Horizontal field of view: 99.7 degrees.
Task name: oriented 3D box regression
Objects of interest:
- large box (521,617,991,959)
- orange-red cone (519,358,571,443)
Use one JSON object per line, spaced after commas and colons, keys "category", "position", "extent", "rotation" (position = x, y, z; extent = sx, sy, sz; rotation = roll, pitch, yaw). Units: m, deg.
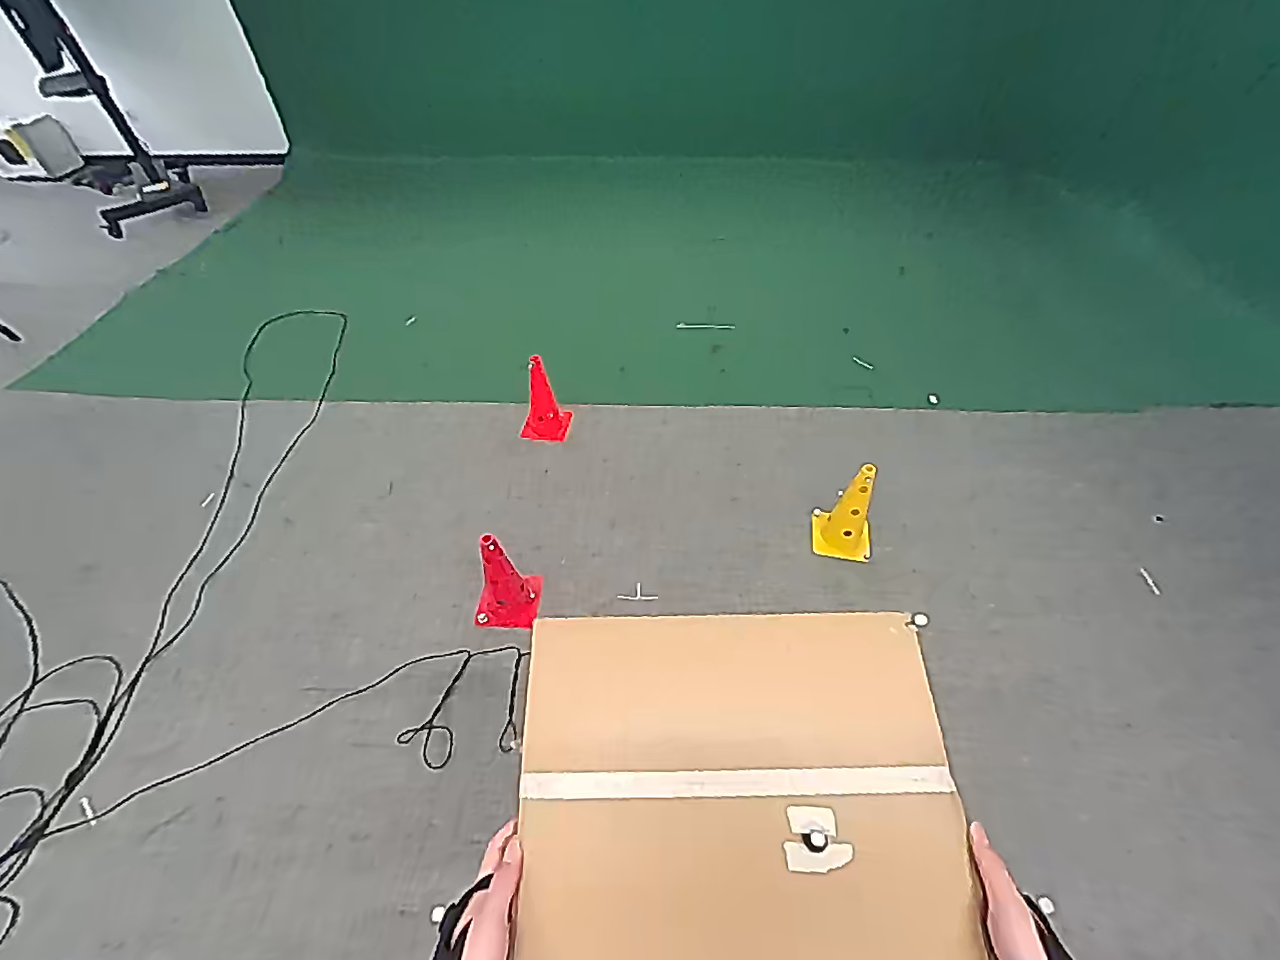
{"category": "large box", "position": [0.093, 0.362, 0.647], "extent": [0.408, 0.320, 0.320], "rotation": [-2, 62, 0]}
{"category": "orange-red cone", "position": [-0.425, -0.353, 2.263], "extent": [0.199, 0.360, 0.198], "rotation": [6, 47, 8]}
